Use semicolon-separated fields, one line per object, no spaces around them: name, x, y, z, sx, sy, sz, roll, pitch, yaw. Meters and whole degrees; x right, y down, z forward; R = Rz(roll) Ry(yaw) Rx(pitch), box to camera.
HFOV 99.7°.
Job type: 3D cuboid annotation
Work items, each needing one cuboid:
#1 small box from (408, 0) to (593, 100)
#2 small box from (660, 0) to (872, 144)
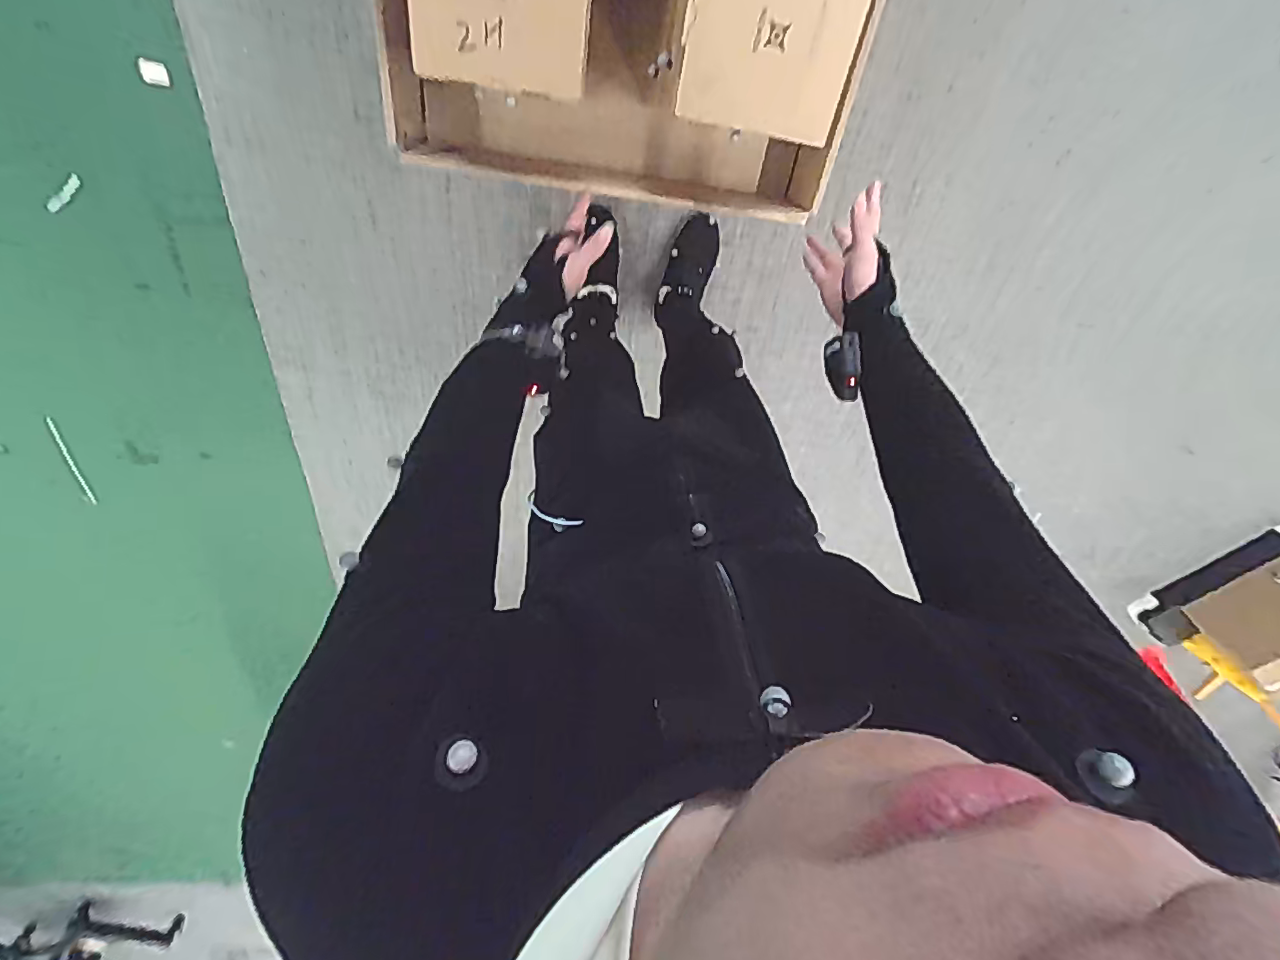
small box;-0.132;-0.508;0.550;0.168;0.176;0.179;5;125;-8
small box;0.126;-0.488;0.593;0.179;0.176;0.168;5;127;-10
